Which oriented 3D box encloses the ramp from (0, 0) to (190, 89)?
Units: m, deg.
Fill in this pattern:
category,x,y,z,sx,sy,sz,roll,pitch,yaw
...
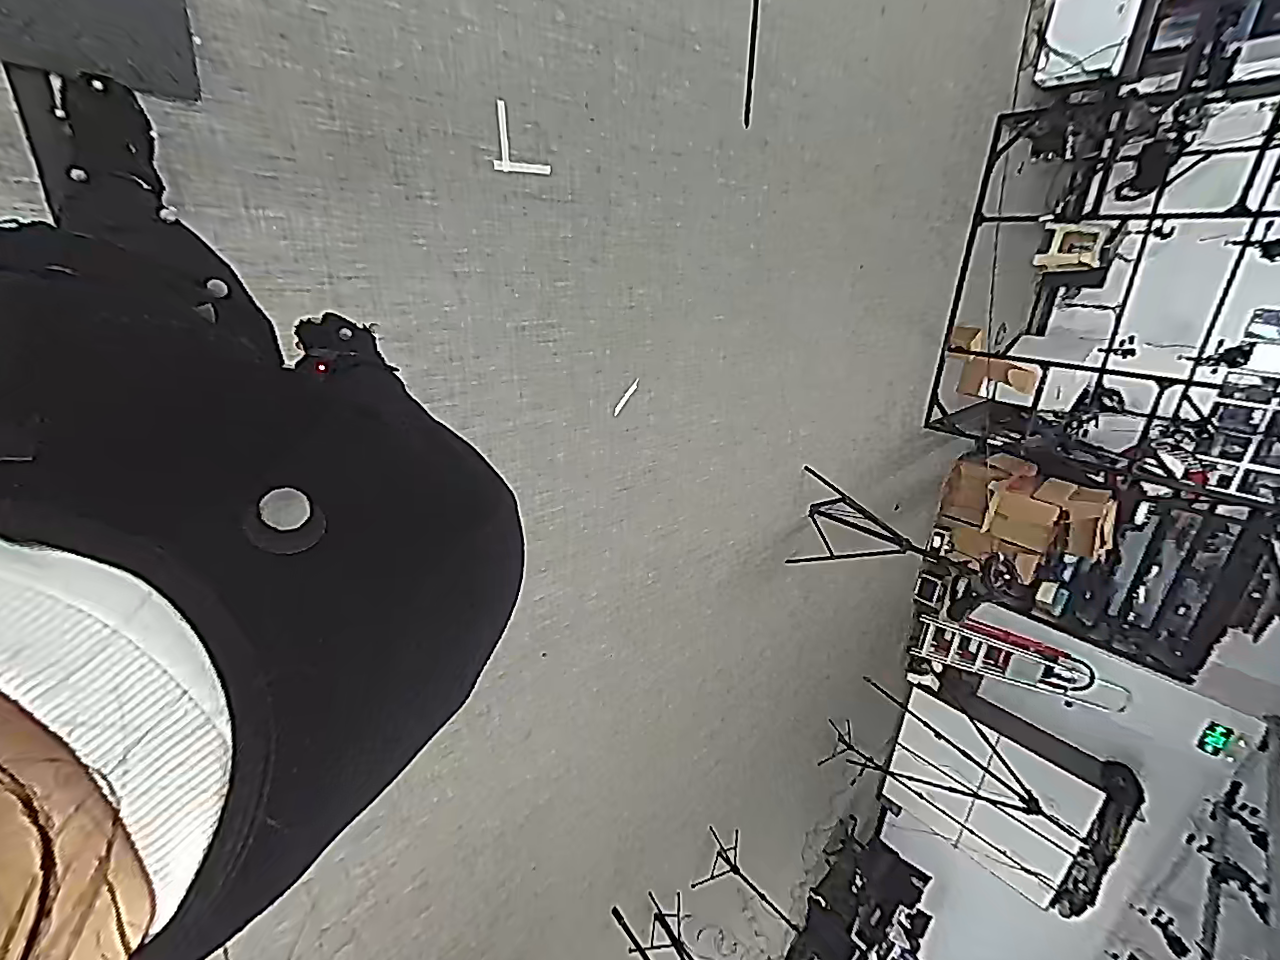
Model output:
category,x,y,z,sx,sy,sz,roll,pitch,yaw
ramp,-0.915,-1.100,0.612,0.509,0.206,0.991,-17,120,-41
